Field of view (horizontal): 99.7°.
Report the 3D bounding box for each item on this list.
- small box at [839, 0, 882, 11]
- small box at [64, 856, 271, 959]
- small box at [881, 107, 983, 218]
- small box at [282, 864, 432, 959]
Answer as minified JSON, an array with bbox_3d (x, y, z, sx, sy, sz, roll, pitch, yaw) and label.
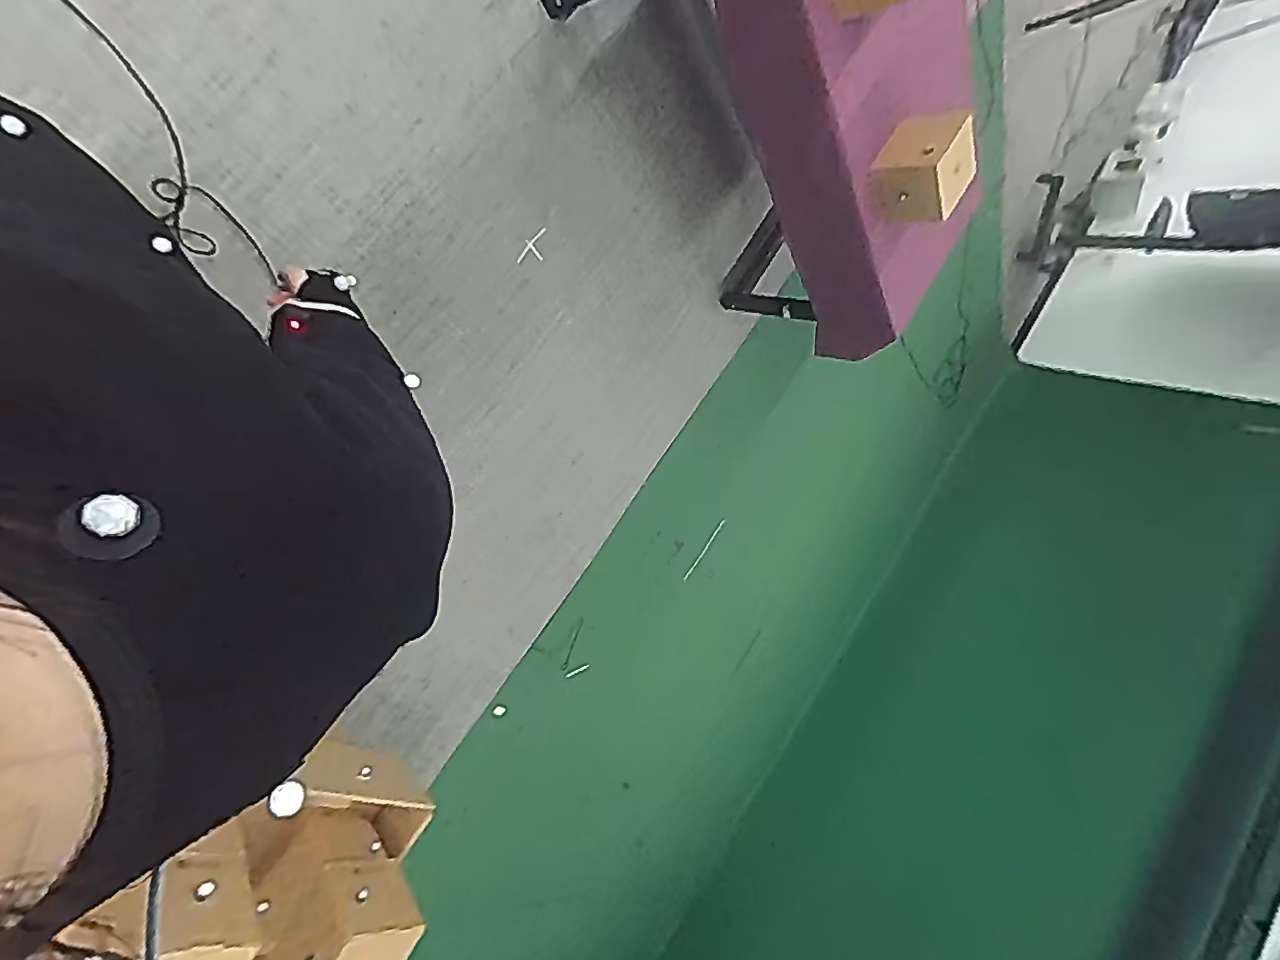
[{"bbox_3d":[0.456,-1.011,0.979,0.179,0.176,0.168,38,80,-47],"label":"small box"},{"bbox_3d":[-0.693,0.692,0.789,0.179,0.176,0.168,-53,135,-13],"label":"small box"},{"bbox_3d":[0.716,-0.775,1.339,0.179,0.176,0.168,-56,137,-9],"label":"small box"},{"bbox_3d":[-0.537,0.862,1.020,0.179,0.176,0.168,-56,136,-8],"label":"small box"}]
